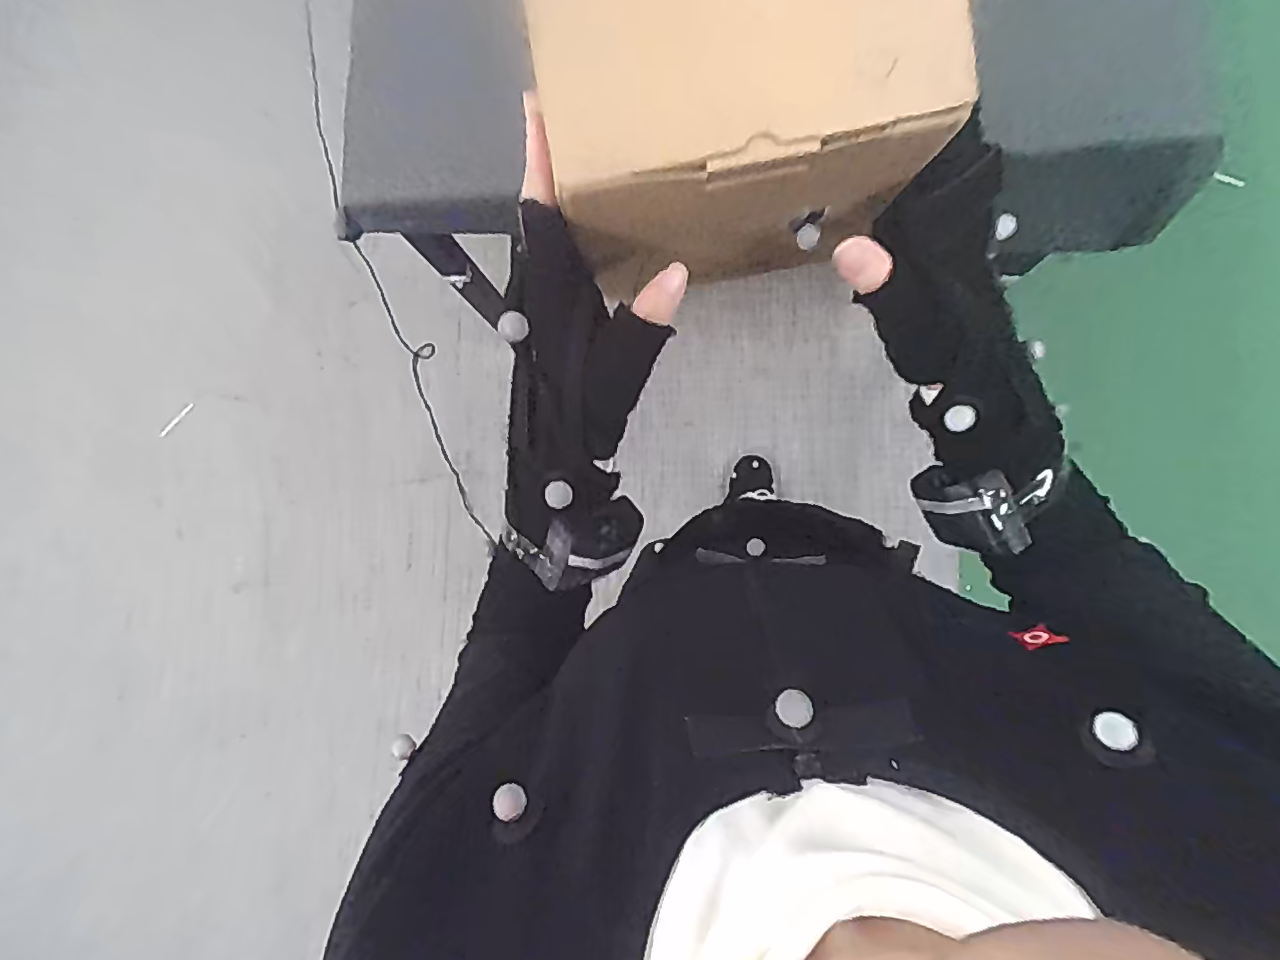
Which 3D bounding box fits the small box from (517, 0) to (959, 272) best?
[{"bbox_3d":[0.033,-0.224,0.284,0.168,0.176,0.179,-9,94,3],"label":"small box"}]
